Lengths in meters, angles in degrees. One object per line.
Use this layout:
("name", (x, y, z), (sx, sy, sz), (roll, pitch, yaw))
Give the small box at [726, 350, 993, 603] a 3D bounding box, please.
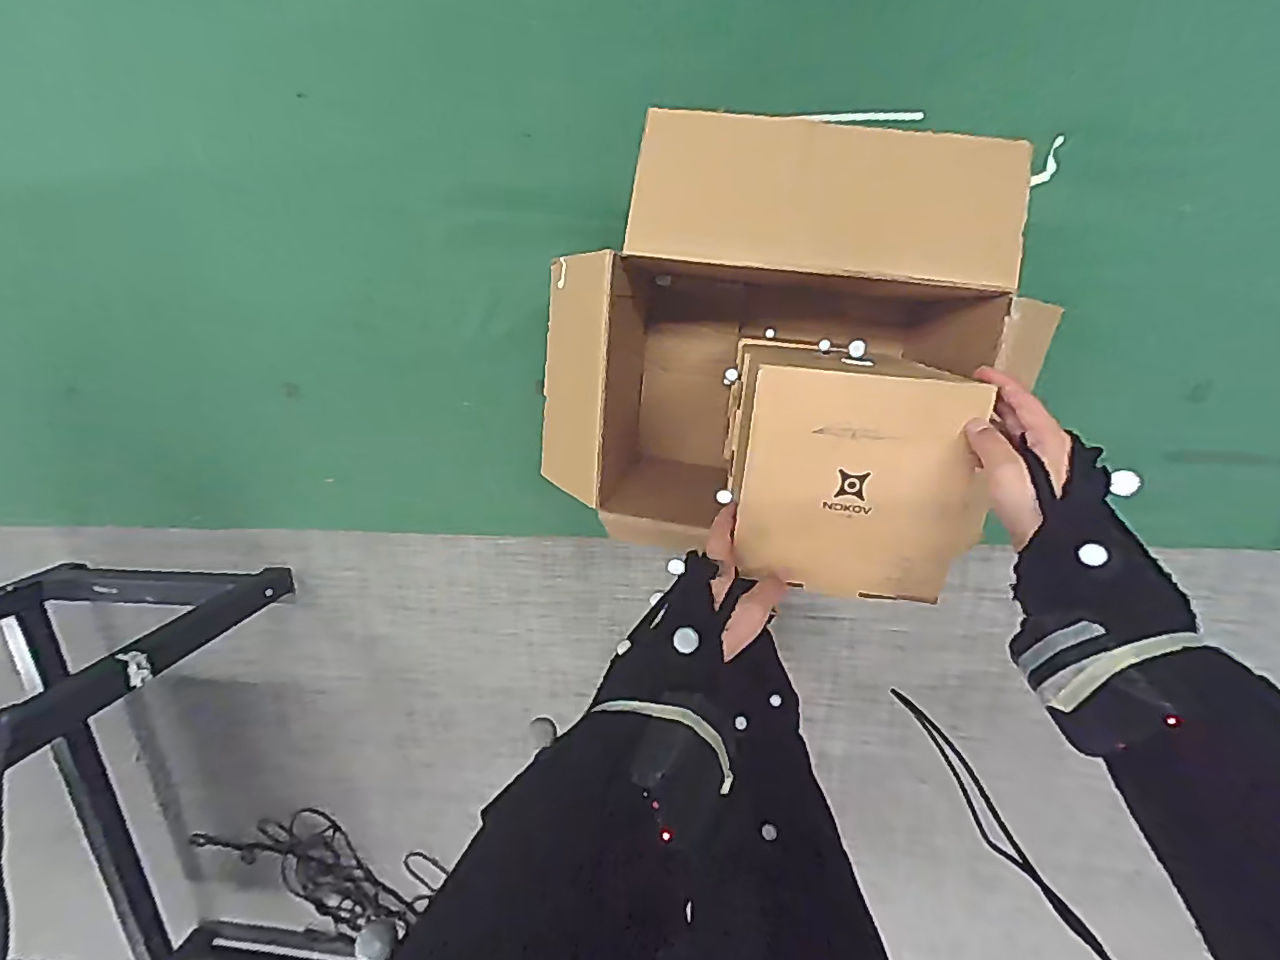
("small box", (0.171, -0.017, 0.483), (0.168, 0.176, 0.179), (6, 106, 7))
